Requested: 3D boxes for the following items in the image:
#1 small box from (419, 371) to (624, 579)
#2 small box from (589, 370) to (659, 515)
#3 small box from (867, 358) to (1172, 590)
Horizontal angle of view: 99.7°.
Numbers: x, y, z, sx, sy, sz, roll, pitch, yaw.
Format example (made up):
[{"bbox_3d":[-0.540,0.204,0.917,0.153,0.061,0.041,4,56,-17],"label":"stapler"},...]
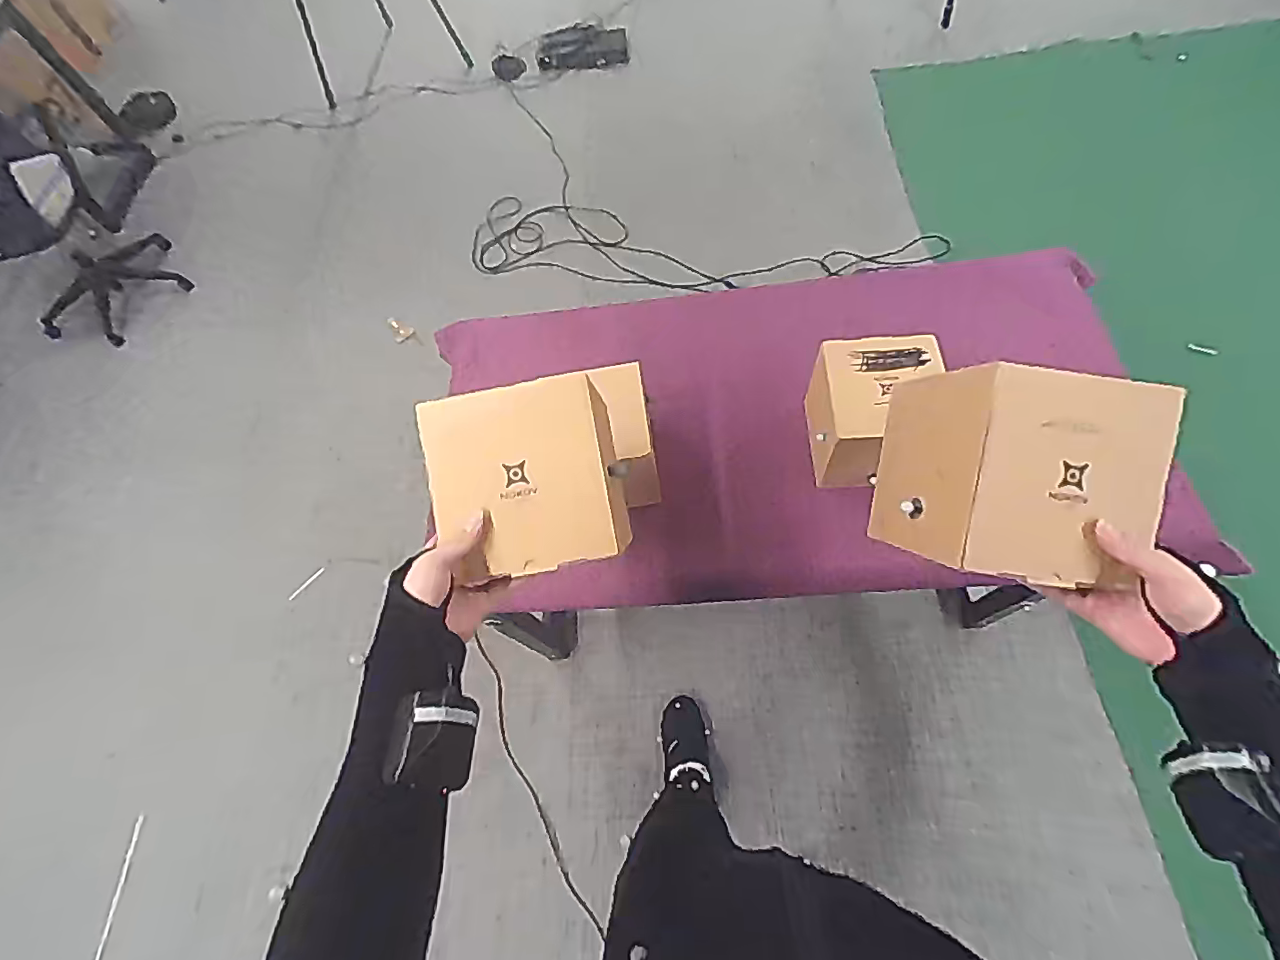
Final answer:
[{"bbox_3d":[-0.115,-0.001,0.588,0.168,0.176,0.179,-11,88,2],"label":"small box"},{"bbox_3d":[-0.064,-0.052,0.890,0.168,0.176,0.179,-9,62,4],"label":"small box"},{"bbox_3d":[0.344,-0.008,0.528,0.168,0.176,0.179,8,93,-3],"label":"small box"}]
